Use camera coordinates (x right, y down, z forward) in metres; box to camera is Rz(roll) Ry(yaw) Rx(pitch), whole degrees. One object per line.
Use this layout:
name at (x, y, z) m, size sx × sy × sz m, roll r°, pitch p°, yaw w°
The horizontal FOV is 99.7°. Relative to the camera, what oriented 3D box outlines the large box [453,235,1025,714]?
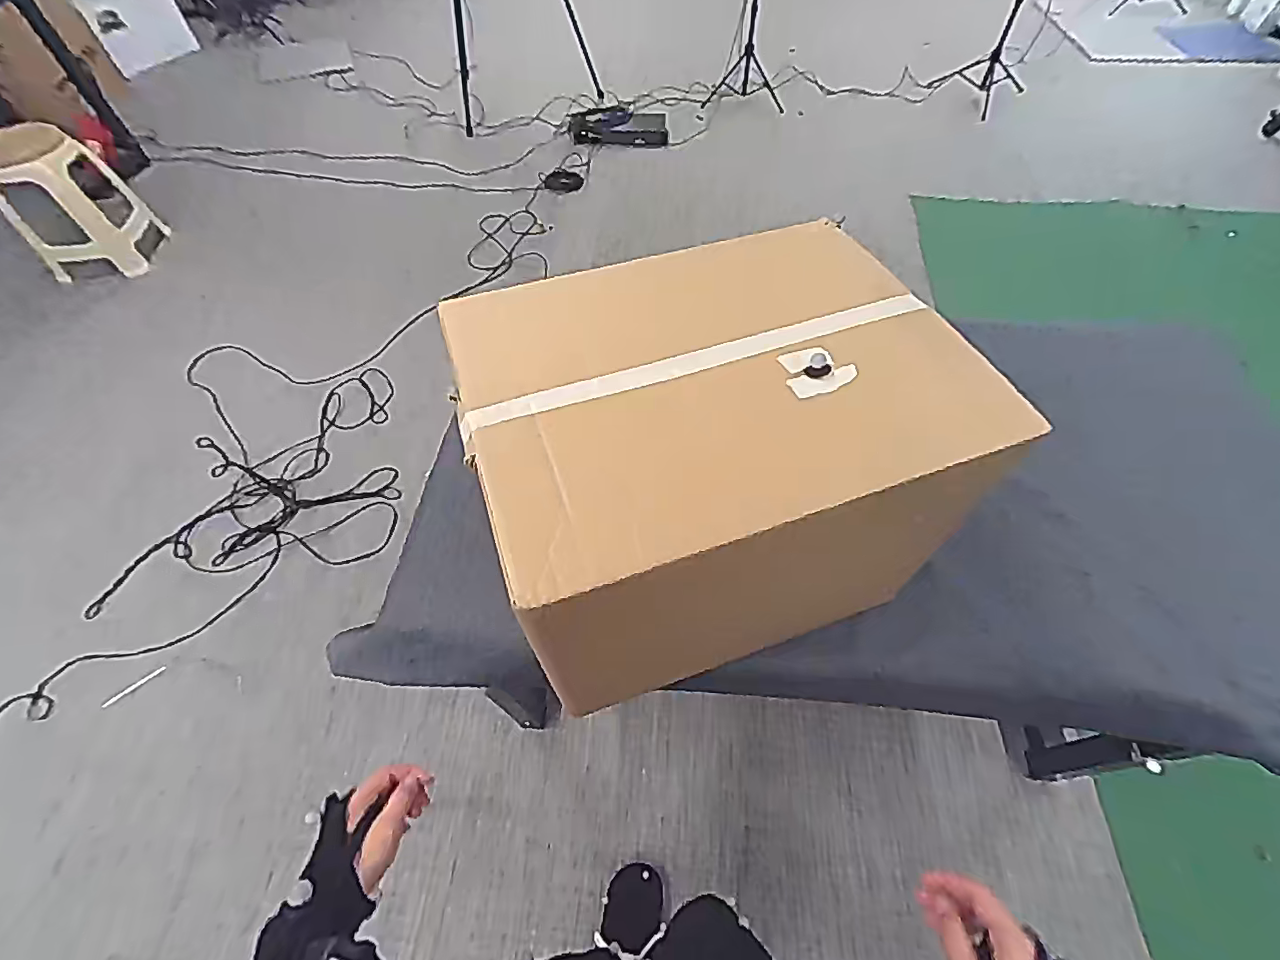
large box at (0.062, -0.006, 0.577) m, size 0.408 × 0.320 × 0.320 m, roll -16°, pitch 57°, yaw -13°
